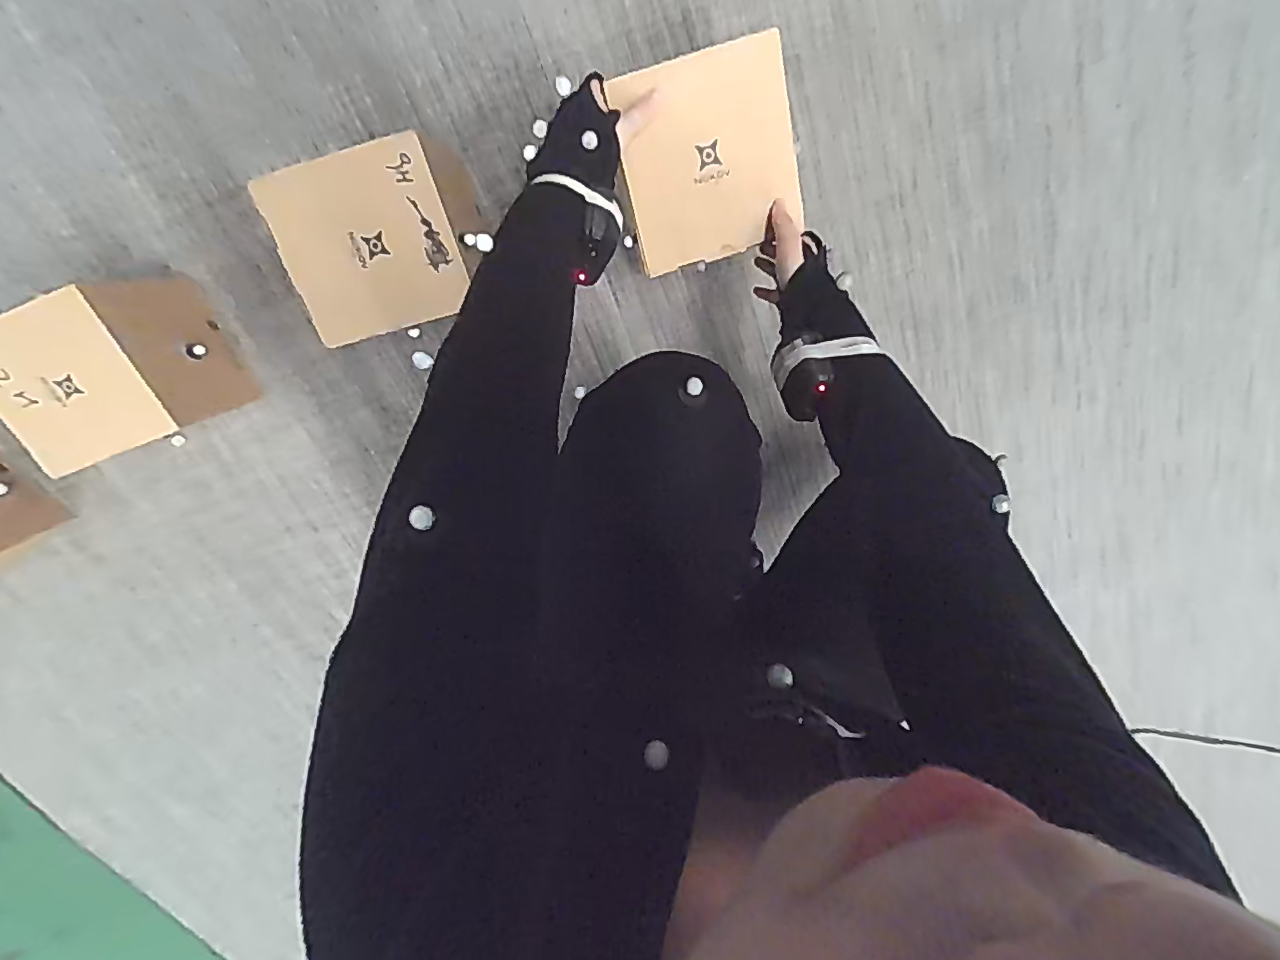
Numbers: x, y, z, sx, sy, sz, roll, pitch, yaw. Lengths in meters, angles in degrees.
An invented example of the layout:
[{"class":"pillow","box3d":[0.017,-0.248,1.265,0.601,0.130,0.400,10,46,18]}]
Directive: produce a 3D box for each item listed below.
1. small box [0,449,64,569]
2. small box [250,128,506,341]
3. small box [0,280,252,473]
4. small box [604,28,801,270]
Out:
[{"class":"small box","box3d":[-0.961,0.062,0.723,0.179,0.176,0.168,-31,110,9]},{"class":"small box","box3d":[-0.274,-0.266,0.612,0.179,0.176,0.168,-14,112,4]},{"class":"small box","box3d":[-0.621,-0.134,0.654,0.179,0.176,0.168,-19,110,6]},{"class":"small box","box3d":[0.060,-0.341,0.595,0.168,0.176,0.179,-15,113,4]}]
